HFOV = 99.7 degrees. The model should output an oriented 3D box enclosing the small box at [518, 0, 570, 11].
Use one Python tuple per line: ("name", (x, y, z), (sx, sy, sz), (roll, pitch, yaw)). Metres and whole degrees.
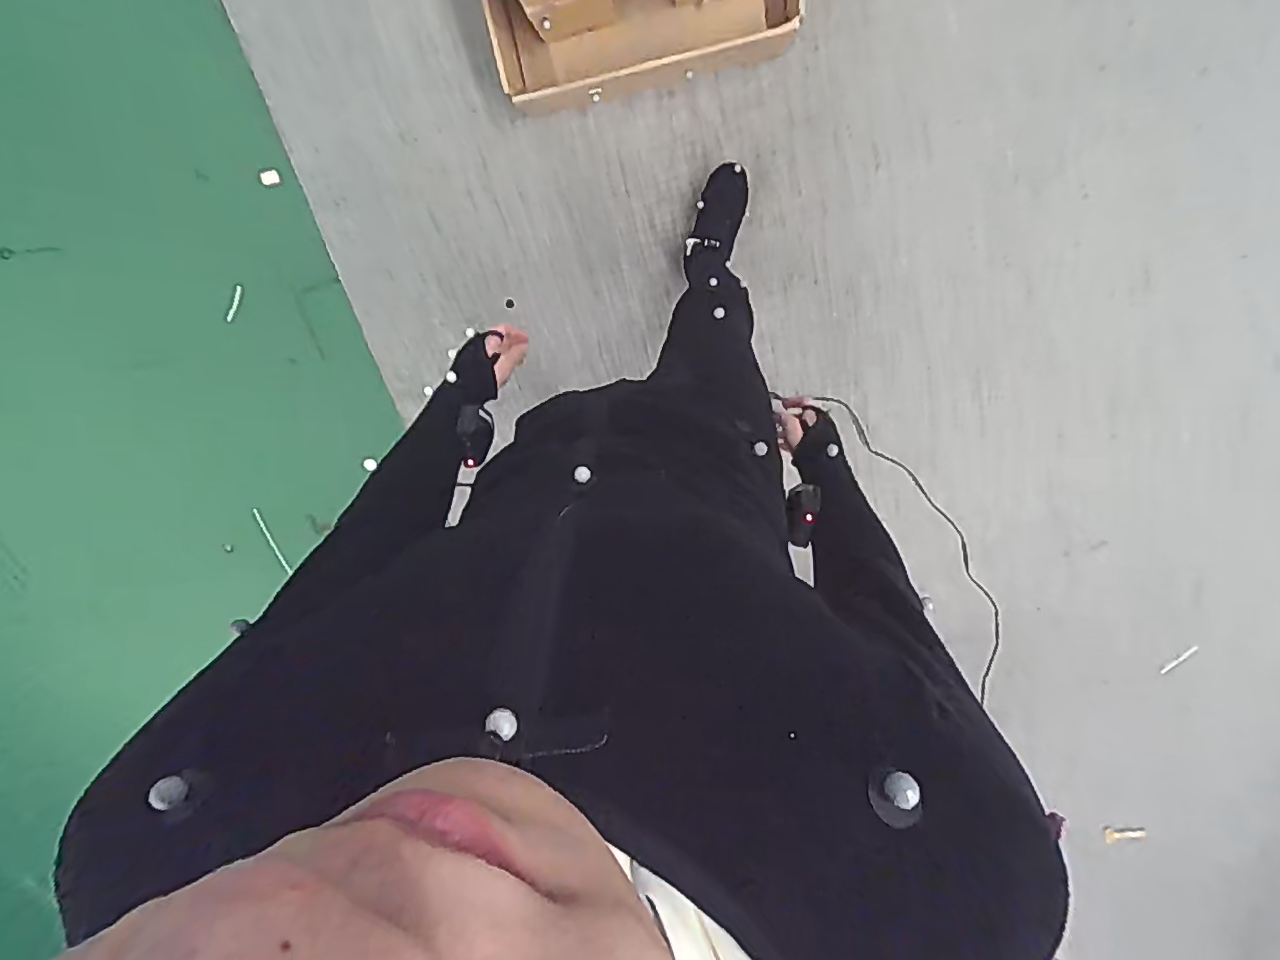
("small box", (-0.170, -0.959, 0.923), (0.168, 0.176, 0.179), (-8, 111, 7))
